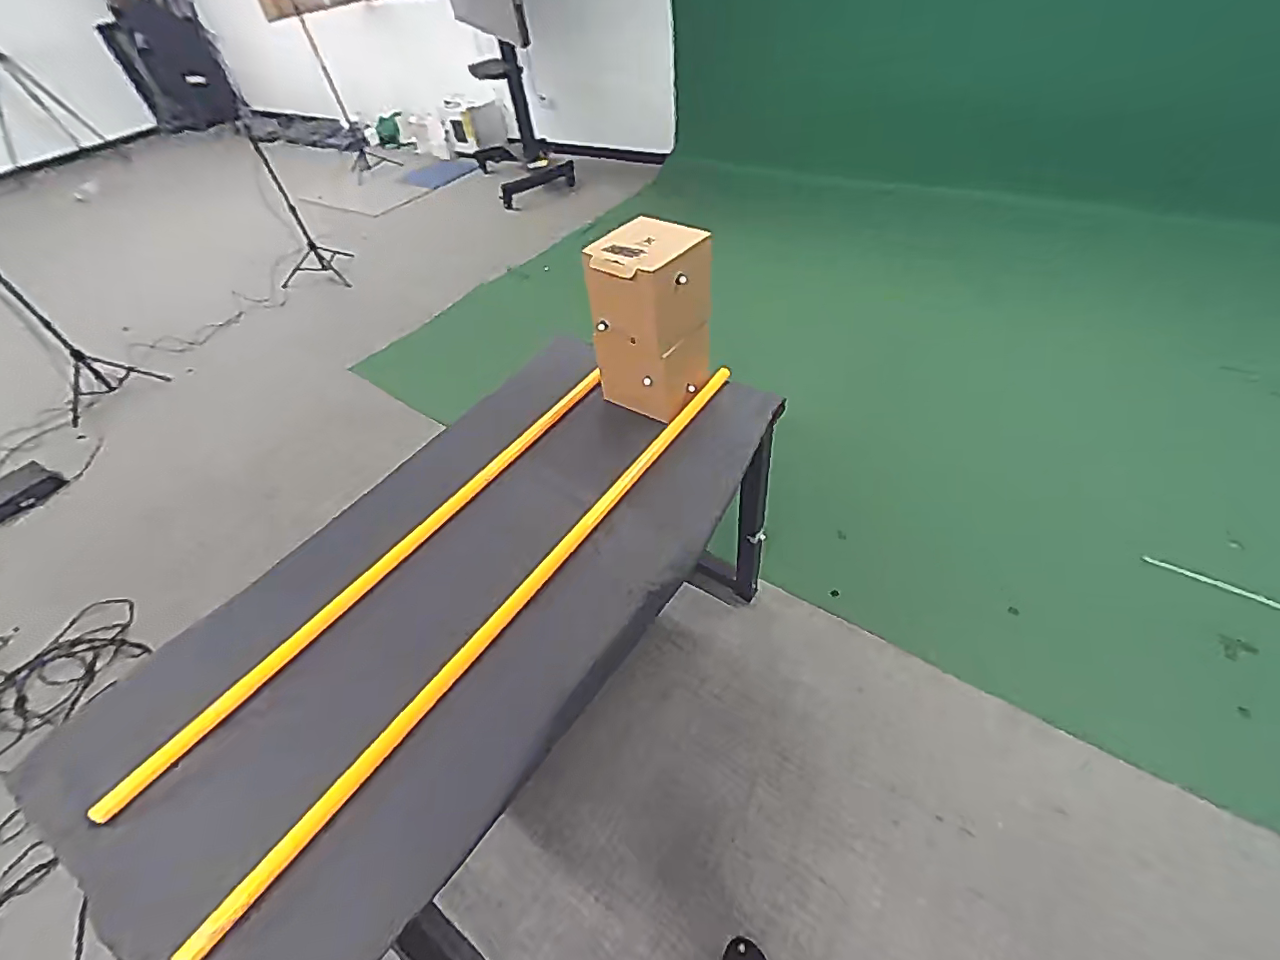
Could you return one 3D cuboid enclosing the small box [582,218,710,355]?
[{"bbox_3d":[0.020,-0.362,1.017,0.168,0.176,0.179,29,57,29],"label":"small box"}]
